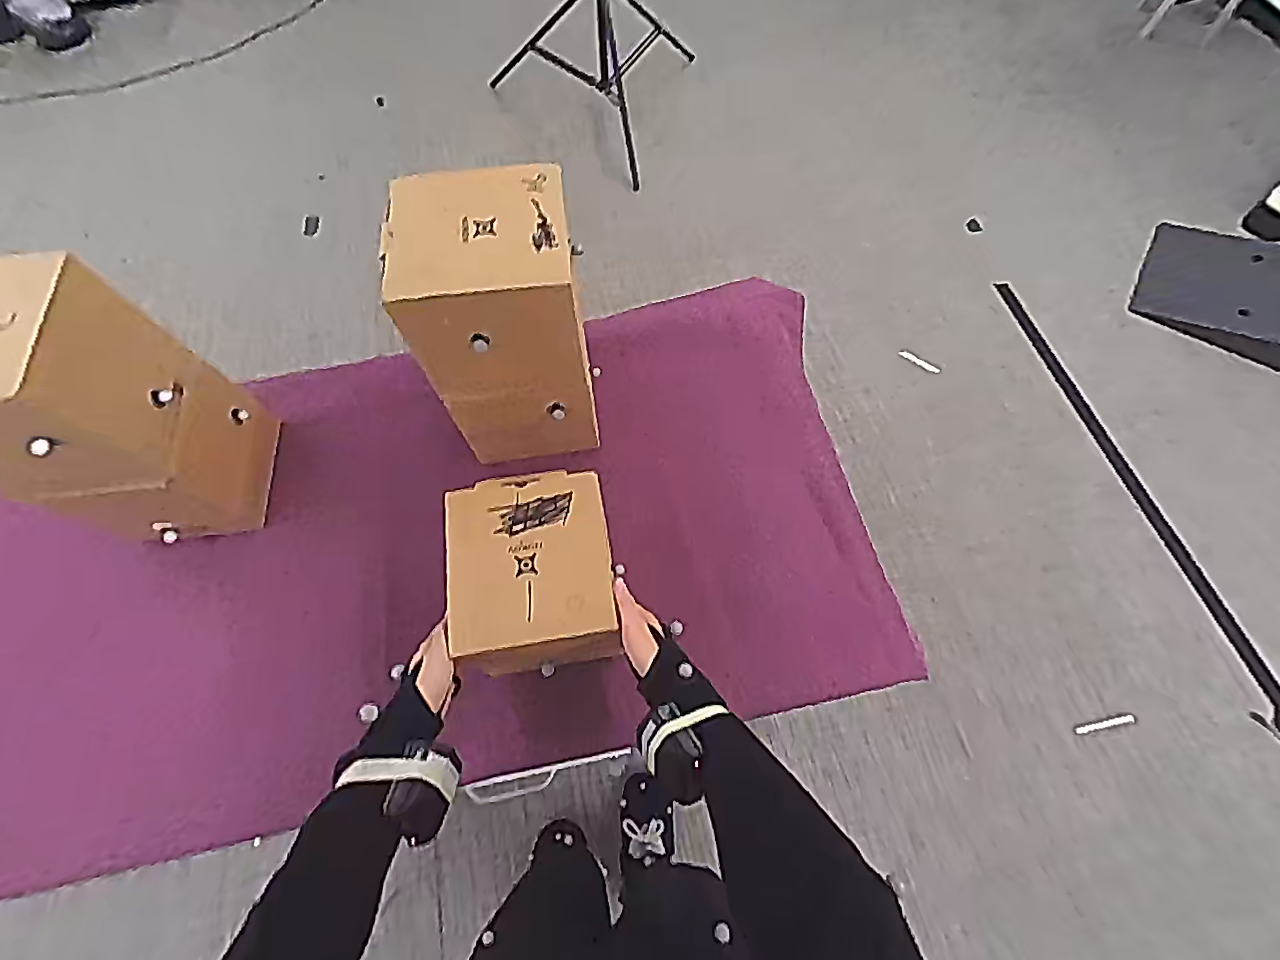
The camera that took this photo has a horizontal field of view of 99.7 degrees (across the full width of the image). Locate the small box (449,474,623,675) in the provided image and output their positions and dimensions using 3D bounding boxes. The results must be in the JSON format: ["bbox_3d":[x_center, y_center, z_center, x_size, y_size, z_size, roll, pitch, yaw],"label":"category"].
[{"bbox_3d":[-0.113,0.115,0.628,0.168,0.176,0.179,-9,65,-3],"label":"small box"}]

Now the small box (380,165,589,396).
[{"bbox_3d":[-0.158,-0.208,0.596,0.179,0.176,0.168,-7,67,-2],"label":"small box"}]

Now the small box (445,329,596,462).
[{"bbox_3d":[-0.156,-0.139,0.746,0.179,0.176,0.168,-8,66,-3],"label":"small box"}]

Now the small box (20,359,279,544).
[{"bbox_3d":[-0.605,-0.030,0.699,0.168,0.176,0.179,-7,68,-2],"label":"small box"}]
